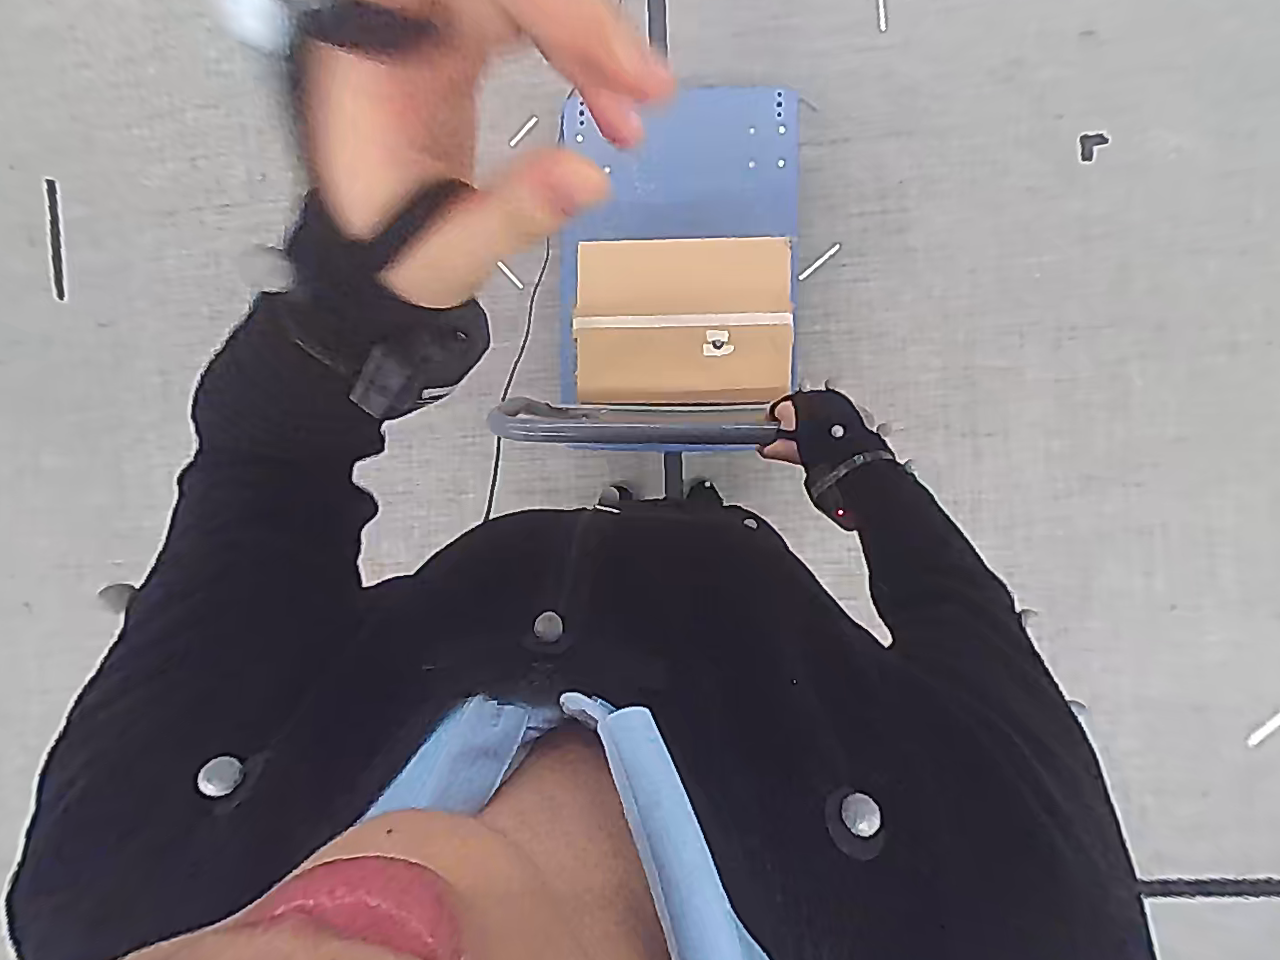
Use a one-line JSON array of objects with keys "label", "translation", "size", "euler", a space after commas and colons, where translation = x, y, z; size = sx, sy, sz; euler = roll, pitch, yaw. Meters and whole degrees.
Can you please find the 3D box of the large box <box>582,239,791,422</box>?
[{"label": "large box", "translation": [0.095, -0.301, 1.185], "size": [0.408, 0.320, 0.320], "euler": [0, 90, 4]}]
